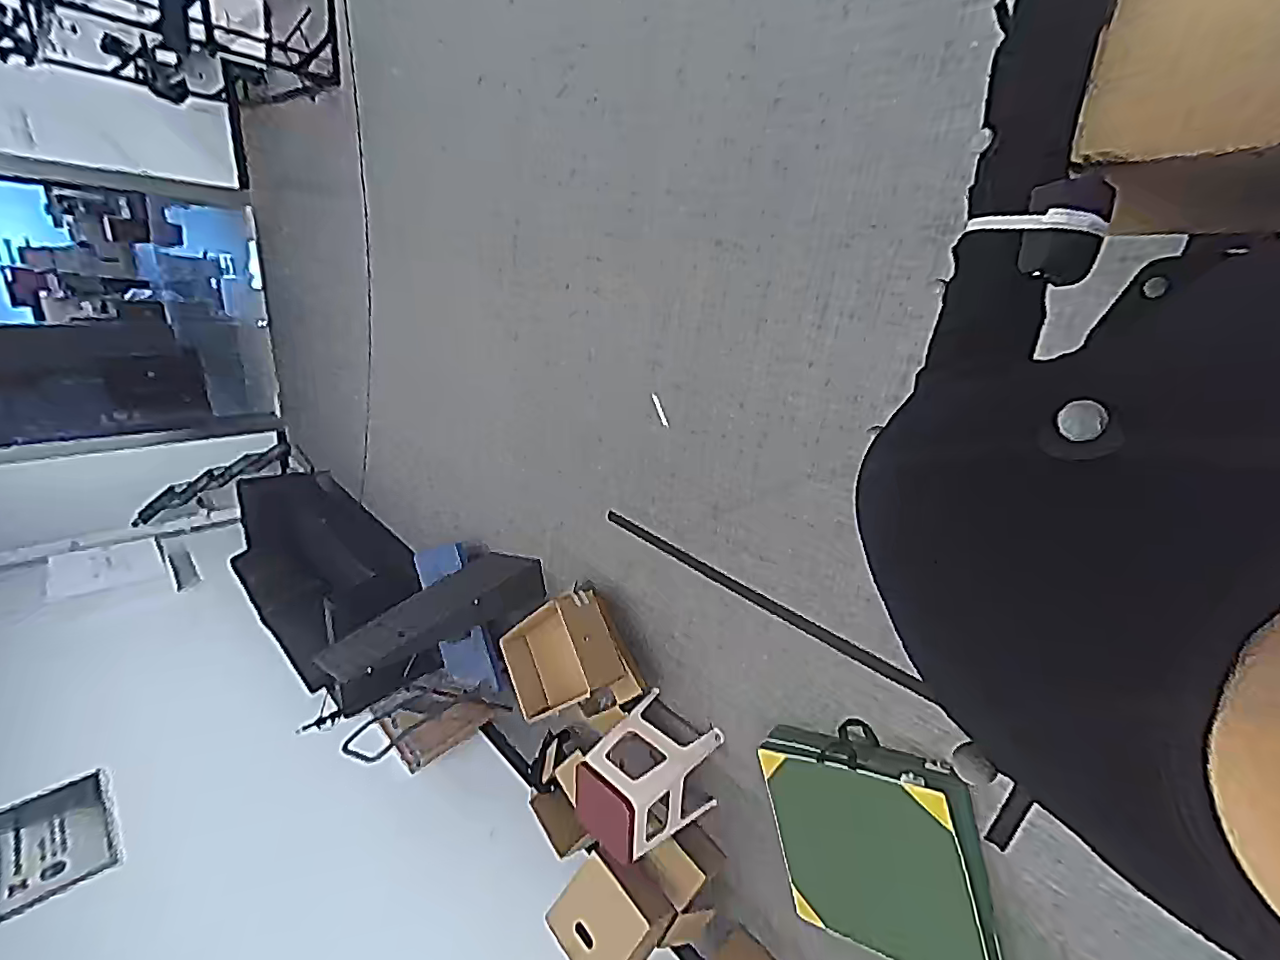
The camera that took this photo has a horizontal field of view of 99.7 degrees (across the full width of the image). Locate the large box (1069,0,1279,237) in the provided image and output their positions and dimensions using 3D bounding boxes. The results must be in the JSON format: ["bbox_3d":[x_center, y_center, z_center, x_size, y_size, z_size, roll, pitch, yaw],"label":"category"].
[{"bbox_3d":[0.565,-0.356,0.344,0.408,0.320,0.320,17,111,38],"label":"large box"}]
